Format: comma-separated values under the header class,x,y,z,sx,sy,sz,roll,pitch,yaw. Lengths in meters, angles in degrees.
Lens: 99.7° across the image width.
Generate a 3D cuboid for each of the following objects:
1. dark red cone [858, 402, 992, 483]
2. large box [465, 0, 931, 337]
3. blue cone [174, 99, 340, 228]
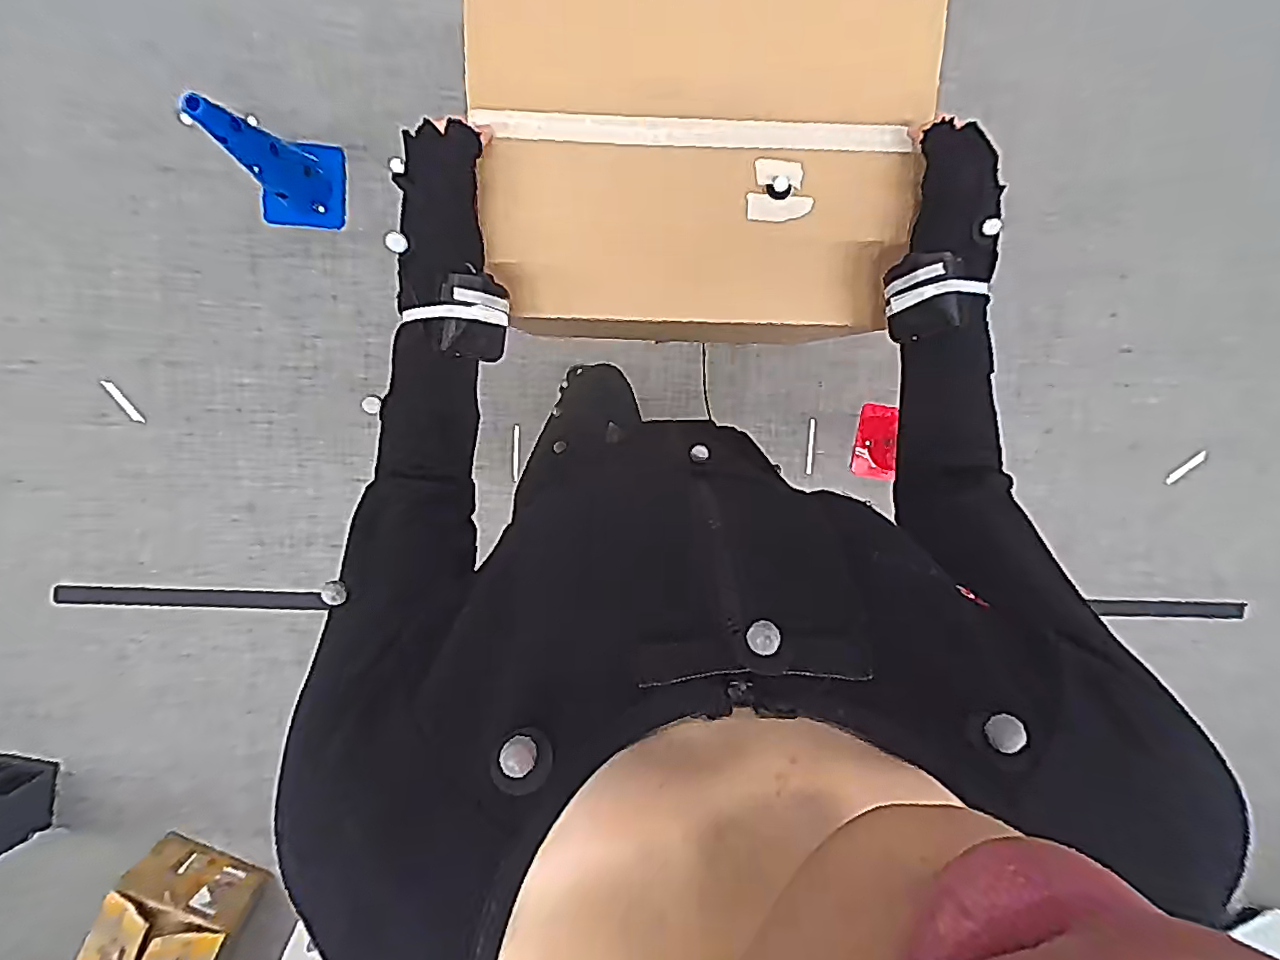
class,x,y,z,sx,sy,sz,roll,pitch,yaw
dark red cone,0.695,-0.078,1.287,0.201,0.394,0.202,8,96,-2
large box,0.042,-0.335,0.620,0.408,0.320,0.320,0,101,-3
blue cone,-0.846,-0.715,1.194,0.192,0.380,0.193,5,96,-2
